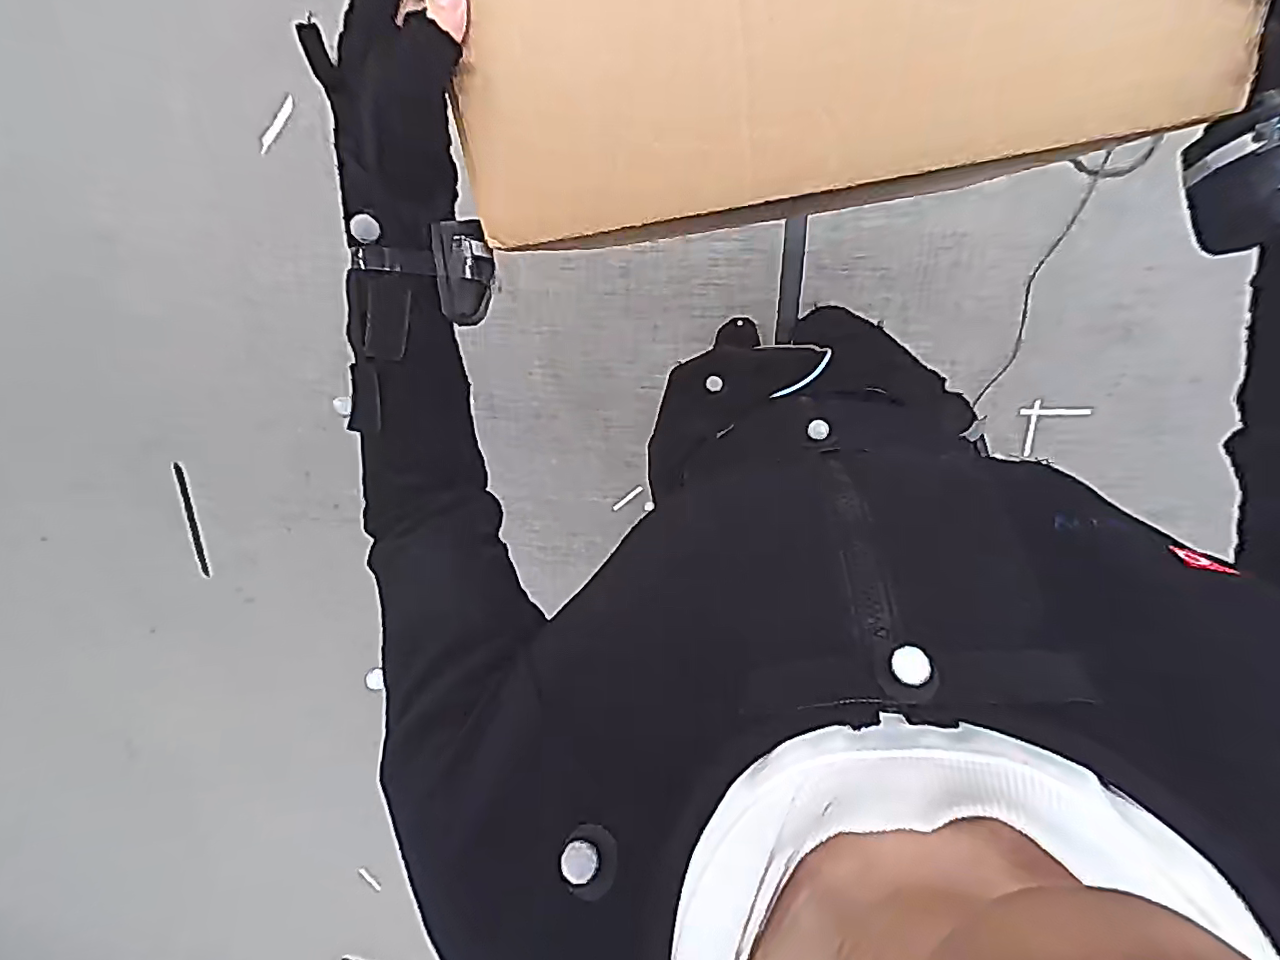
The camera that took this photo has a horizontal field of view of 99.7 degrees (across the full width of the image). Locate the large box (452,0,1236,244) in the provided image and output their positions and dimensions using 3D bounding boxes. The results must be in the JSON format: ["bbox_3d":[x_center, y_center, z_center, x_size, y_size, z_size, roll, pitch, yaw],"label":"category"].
[{"bbox_3d":[0.099,-0.376,0.398,0.408,0.320,0.320,-6,113,10],"label":"large box"}]
